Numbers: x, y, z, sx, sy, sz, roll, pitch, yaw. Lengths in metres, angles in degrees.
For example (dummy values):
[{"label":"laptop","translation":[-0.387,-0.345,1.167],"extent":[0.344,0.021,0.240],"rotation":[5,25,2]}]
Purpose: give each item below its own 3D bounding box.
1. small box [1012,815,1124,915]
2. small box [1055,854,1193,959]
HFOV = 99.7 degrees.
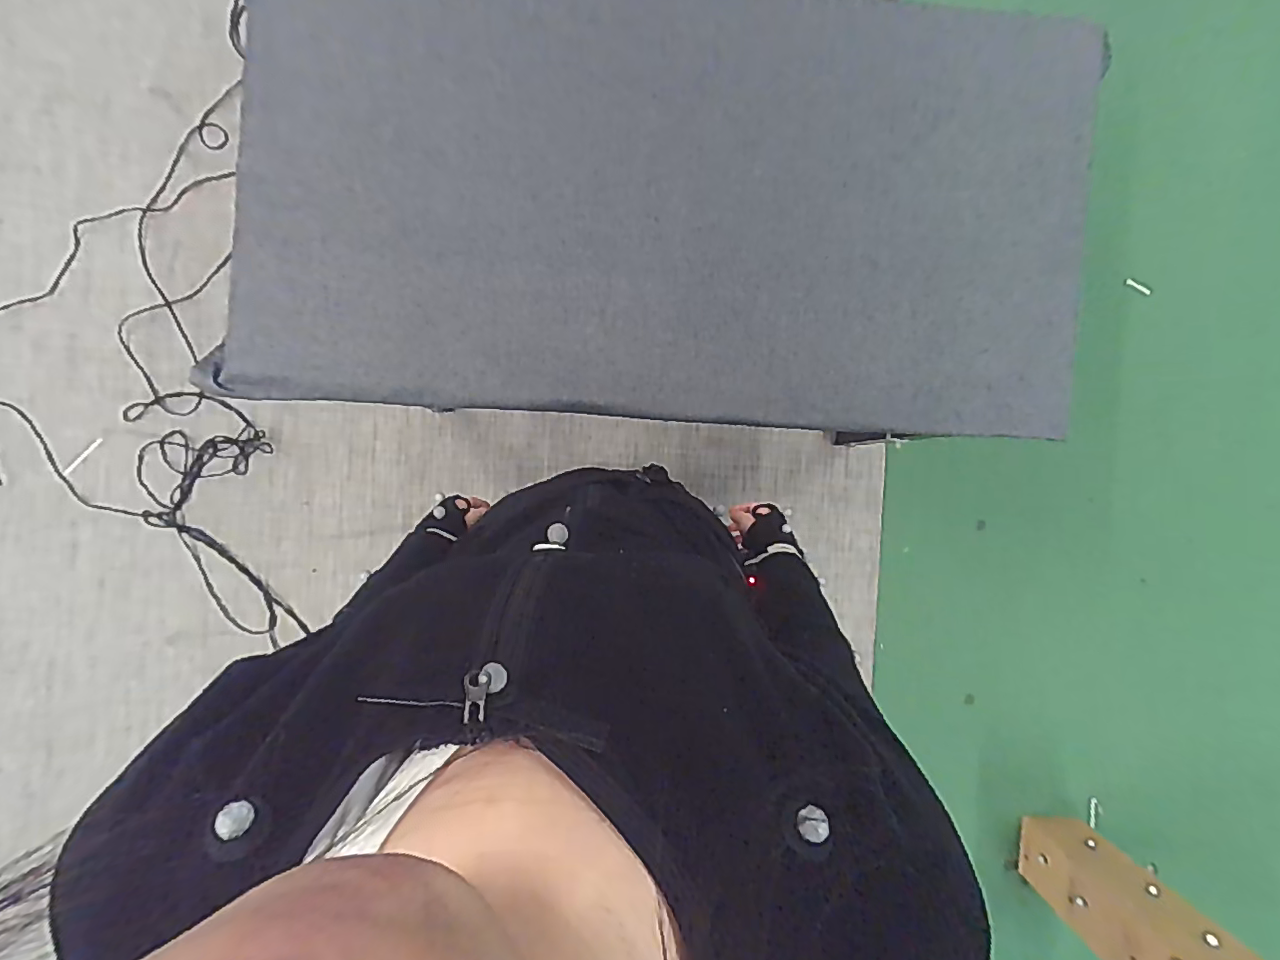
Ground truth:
[{"label":"small box","translation":[1.158,1.045,1.474],"extent":[0.179,0.176,0.168],"rotation":[3,91,-2]},{"label":"small box","translation":[1.163,1.045,1.309],"extent":[0.179,0.176,0.168],"rotation":[6,90,-2]}]
